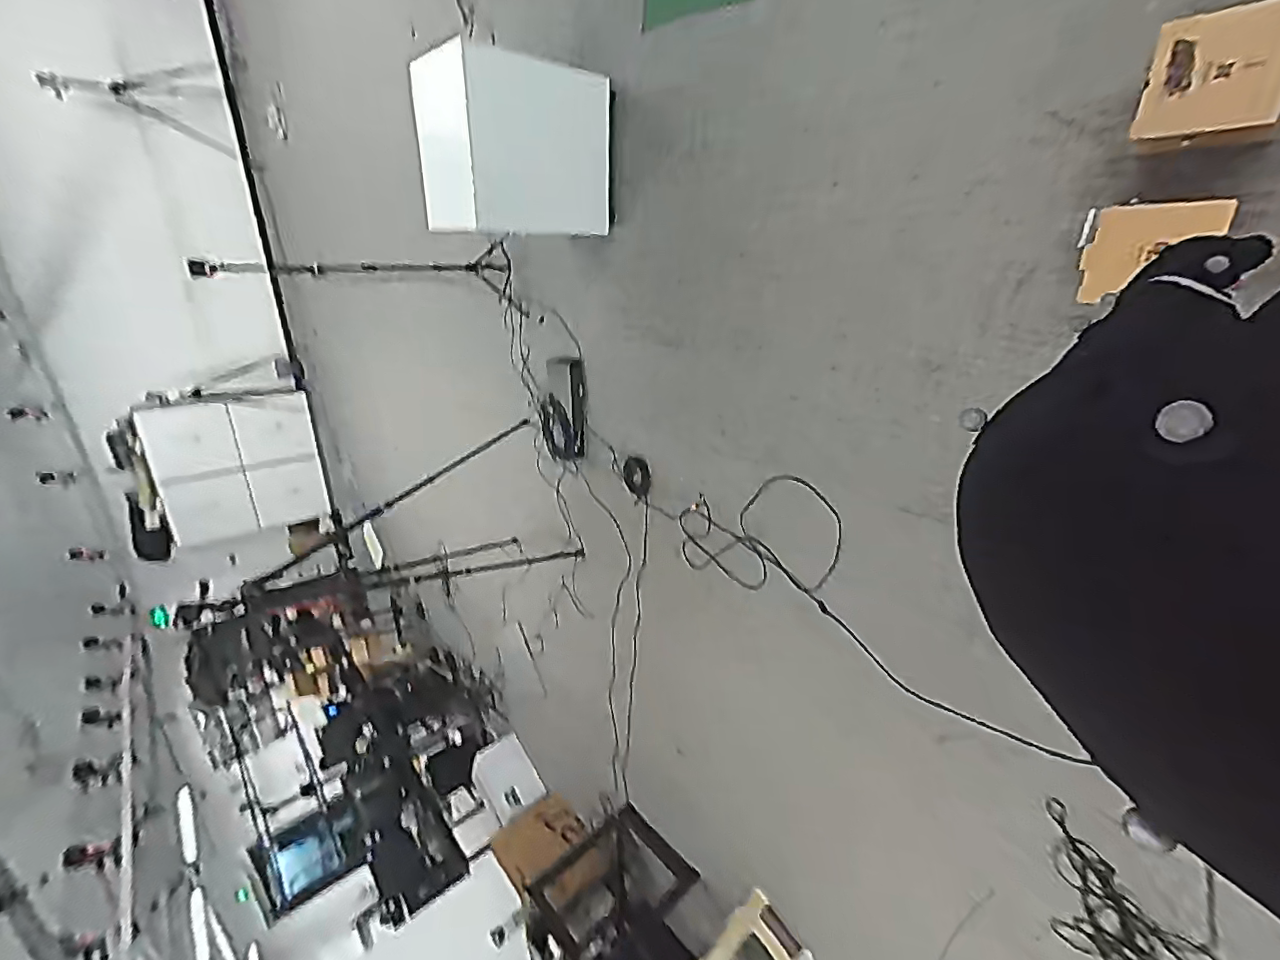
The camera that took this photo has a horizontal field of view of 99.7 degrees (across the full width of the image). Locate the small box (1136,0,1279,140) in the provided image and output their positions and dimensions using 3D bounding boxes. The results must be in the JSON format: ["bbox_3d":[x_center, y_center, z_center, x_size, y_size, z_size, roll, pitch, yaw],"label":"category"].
[{"bbox_3d":[0.957,-0.669,0.878,0.179,0.176,0.168,21,120,43],"label":"small box"}]

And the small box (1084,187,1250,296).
[{"bbox_3d":[0.955,-0.427,0.981,0.179,0.176,0.168,21,120,45],"label":"small box"}]
